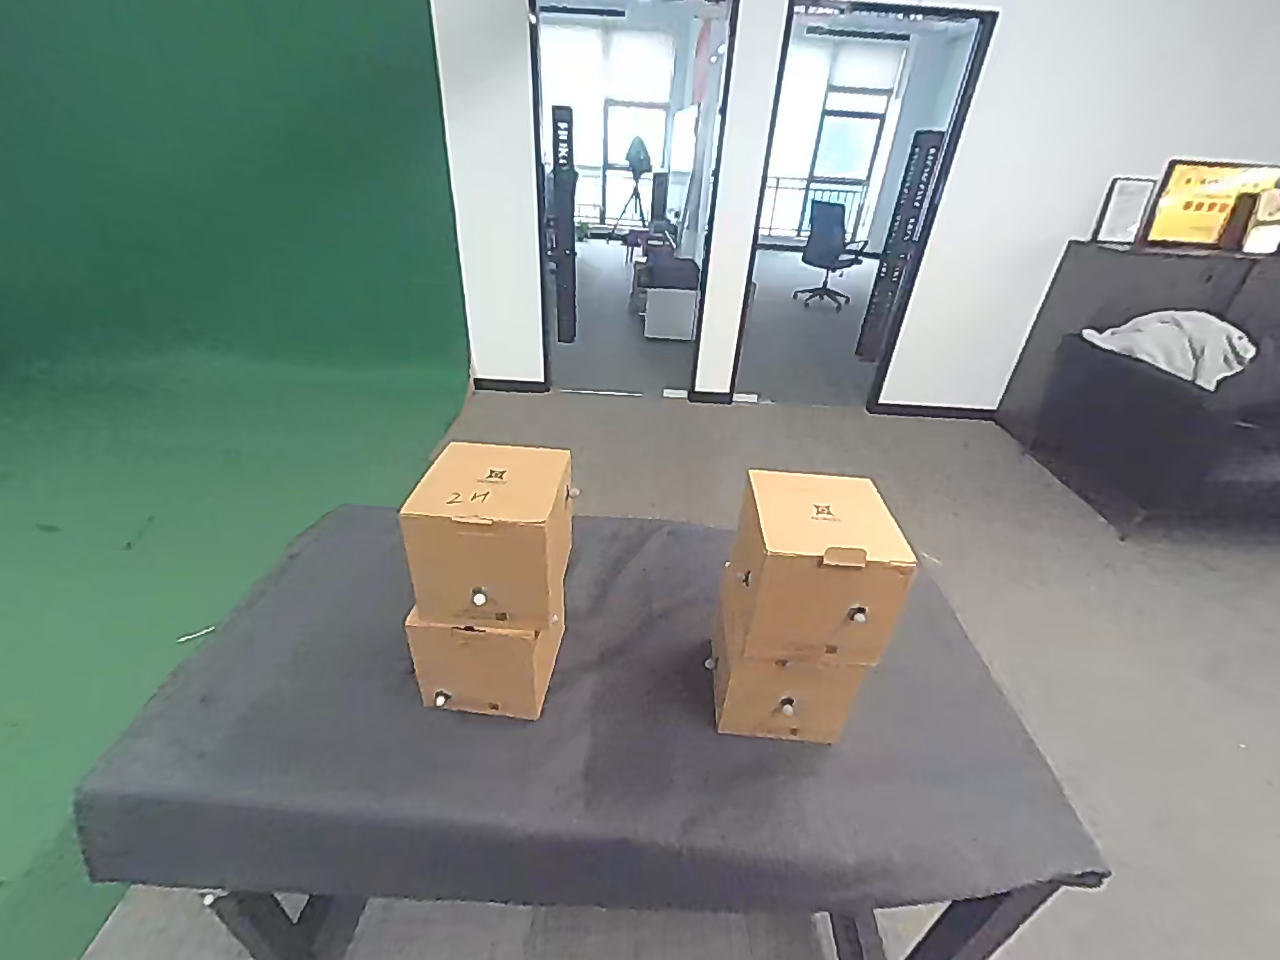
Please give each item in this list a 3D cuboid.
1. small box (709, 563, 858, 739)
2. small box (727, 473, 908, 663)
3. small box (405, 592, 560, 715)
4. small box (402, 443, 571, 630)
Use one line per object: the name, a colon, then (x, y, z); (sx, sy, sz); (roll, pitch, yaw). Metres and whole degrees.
small box: (0.193, 0.245, 0.781); (0.168, 0.176, 0.179); (5, 32, 1)
small box: (0.209, 0.110, 0.692); (0.168, 0.176, 0.179); (5, 30, 0)
small box: (-0.212, 0.213, 0.788); (0.168, 0.176, 0.179); (6, 30, 3)
small box: (-0.186, 0.069, 0.710); (0.168, 0.176, 0.179); (4, 31, 1)
